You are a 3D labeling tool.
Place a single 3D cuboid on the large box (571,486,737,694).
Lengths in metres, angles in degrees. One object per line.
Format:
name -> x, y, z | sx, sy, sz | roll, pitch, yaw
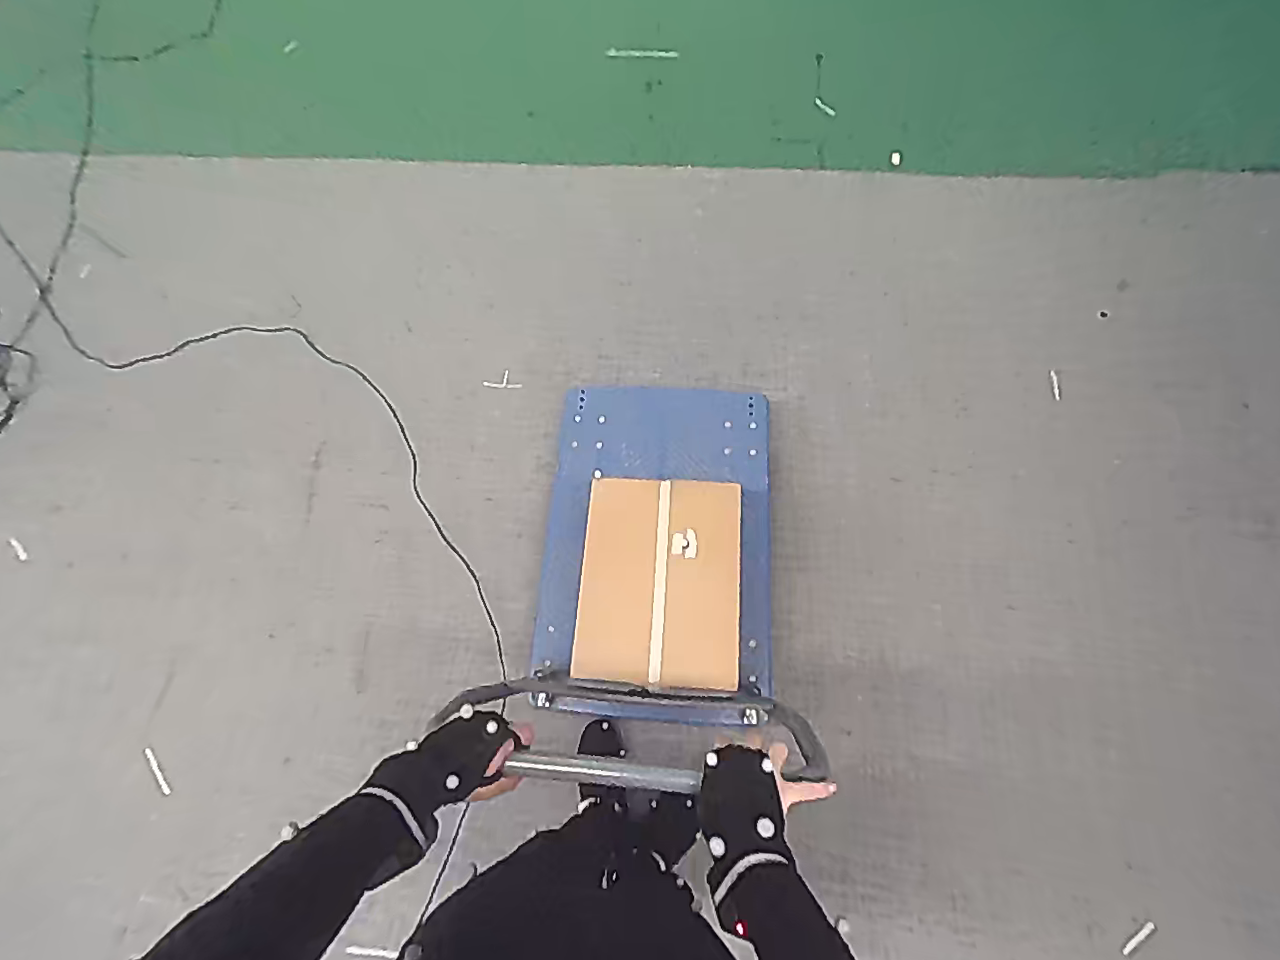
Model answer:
large box -> 0.042, 0.257, 1.208 | 0.320, 0.320, 0.408 | 3, 68, 4
